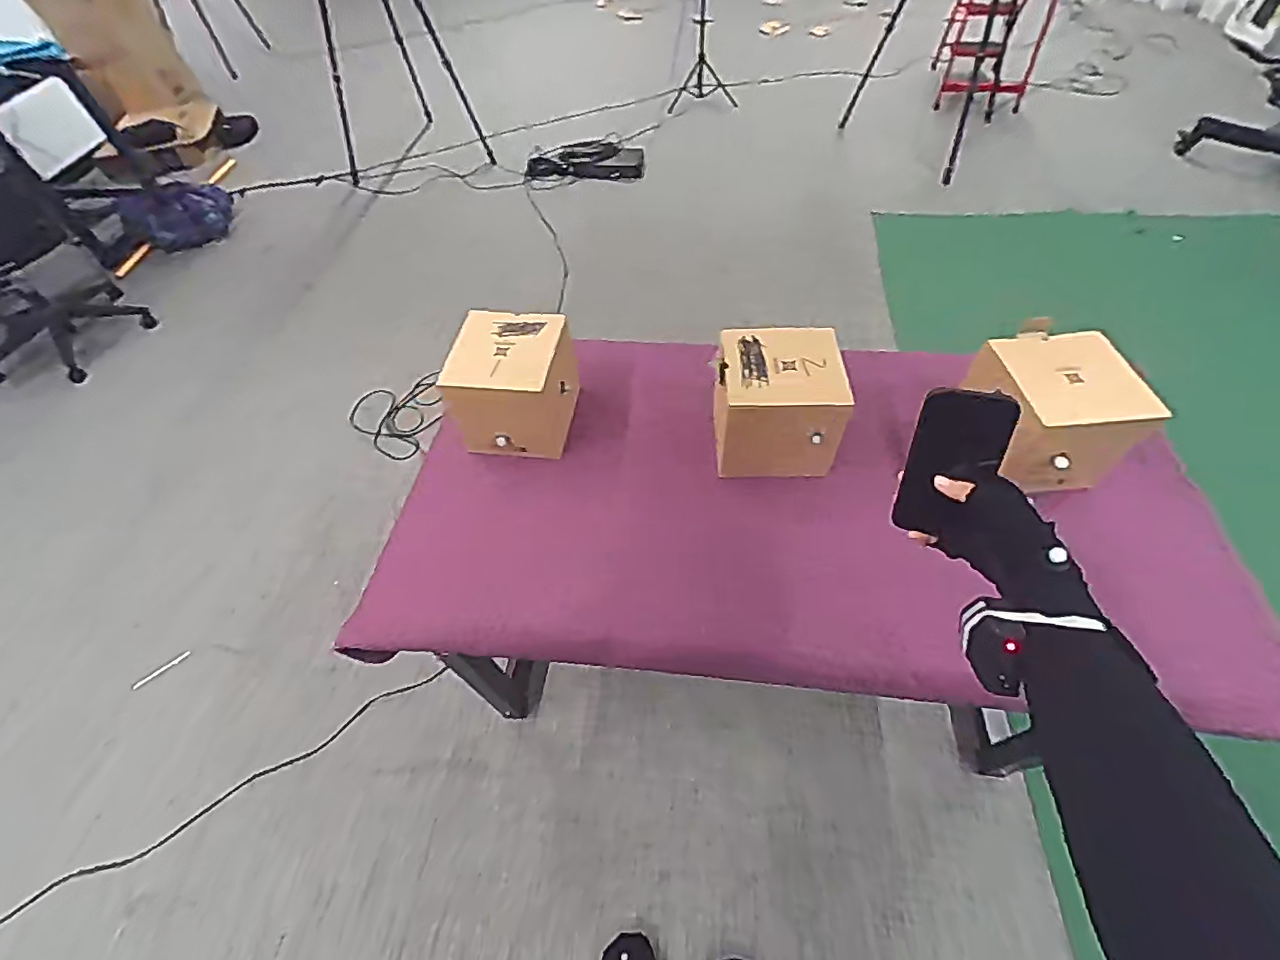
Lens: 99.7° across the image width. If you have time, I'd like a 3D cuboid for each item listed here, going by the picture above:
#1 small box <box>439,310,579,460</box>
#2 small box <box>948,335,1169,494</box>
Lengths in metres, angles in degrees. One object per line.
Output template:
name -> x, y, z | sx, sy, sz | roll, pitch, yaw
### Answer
small box -> -0.204, -0.157, 0.904 | 0.168, 0.176, 0.179 | 5, 56, 7
small box -> 0.602, -0.090, 0.809 | 0.168, 0.176, 0.179 | -5, 53, 1
